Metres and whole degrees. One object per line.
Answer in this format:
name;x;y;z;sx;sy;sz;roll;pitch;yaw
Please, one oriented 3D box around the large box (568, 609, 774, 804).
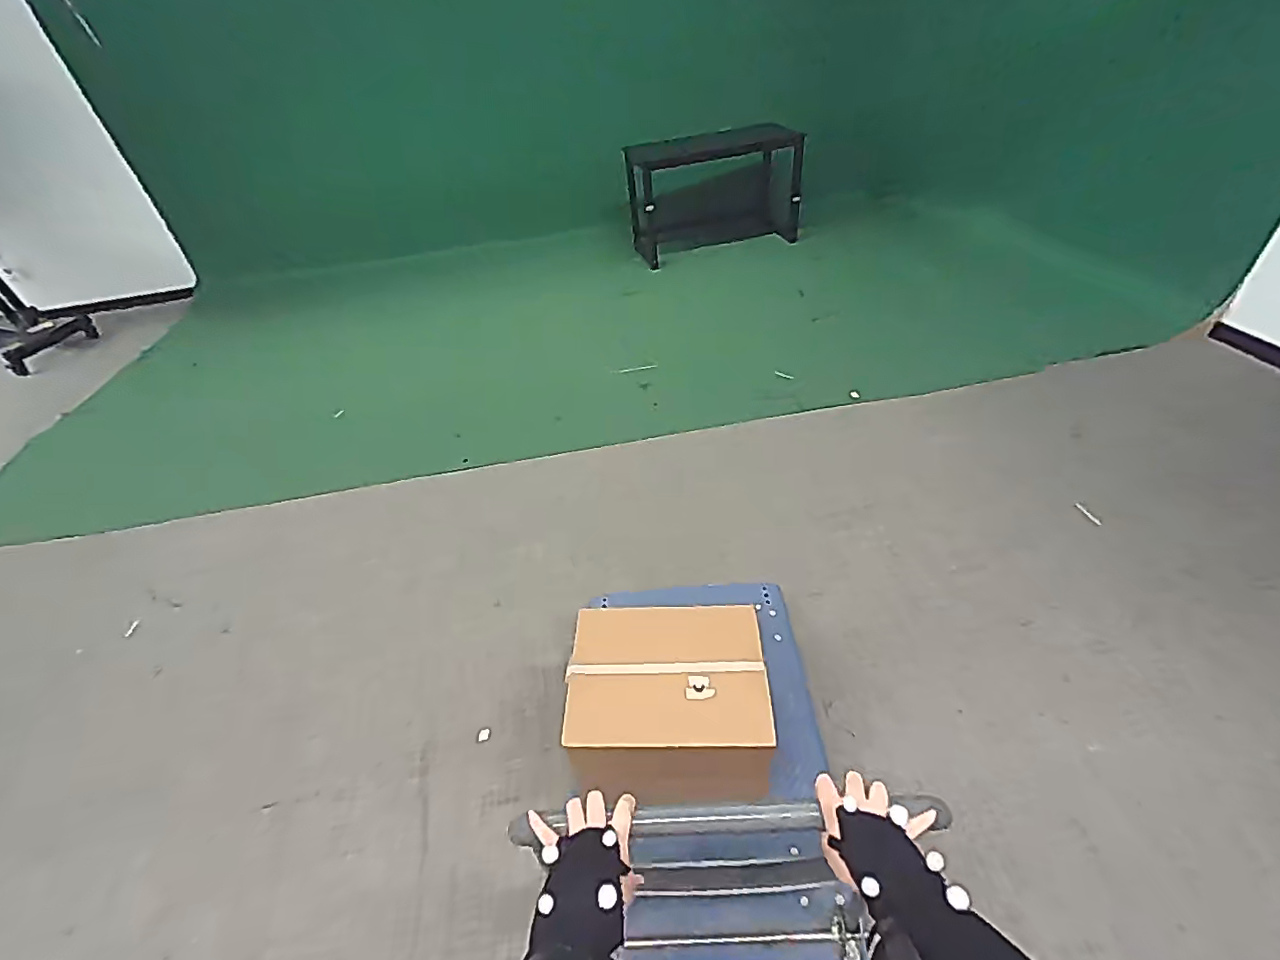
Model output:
large box;0.068;0.517;1.238;0.408;0.320;0.320;-2;41;4
